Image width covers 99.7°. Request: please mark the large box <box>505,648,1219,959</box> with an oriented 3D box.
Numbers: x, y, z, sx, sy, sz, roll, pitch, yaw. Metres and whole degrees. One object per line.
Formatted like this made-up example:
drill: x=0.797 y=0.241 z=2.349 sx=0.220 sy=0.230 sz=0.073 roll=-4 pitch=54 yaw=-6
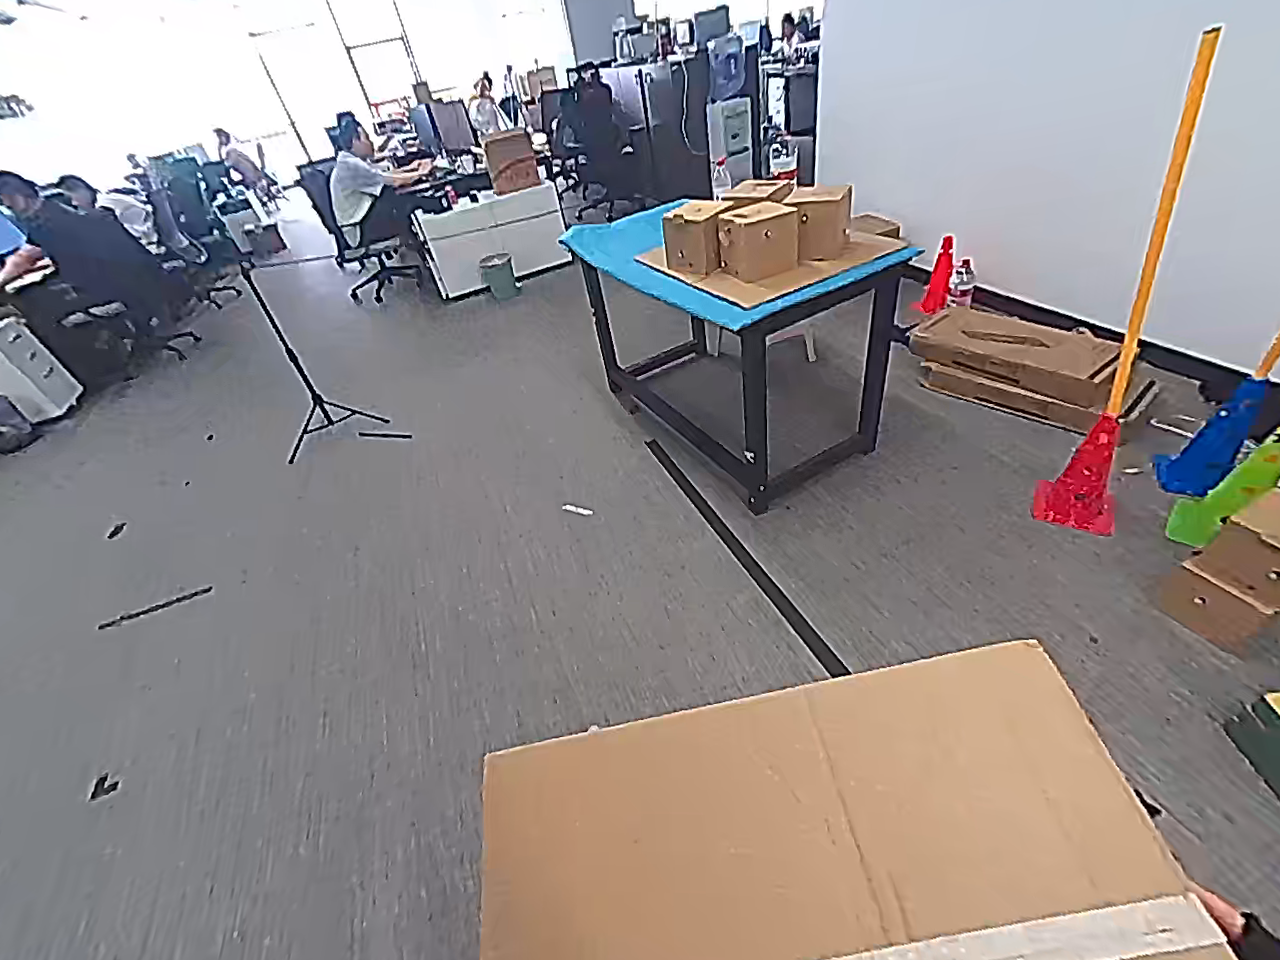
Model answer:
large box: x=0.140 y=0.374 z=0.429 sx=0.408 sy=0.320 sz=0.320 roll=-14 pitch=54 yaw=3
